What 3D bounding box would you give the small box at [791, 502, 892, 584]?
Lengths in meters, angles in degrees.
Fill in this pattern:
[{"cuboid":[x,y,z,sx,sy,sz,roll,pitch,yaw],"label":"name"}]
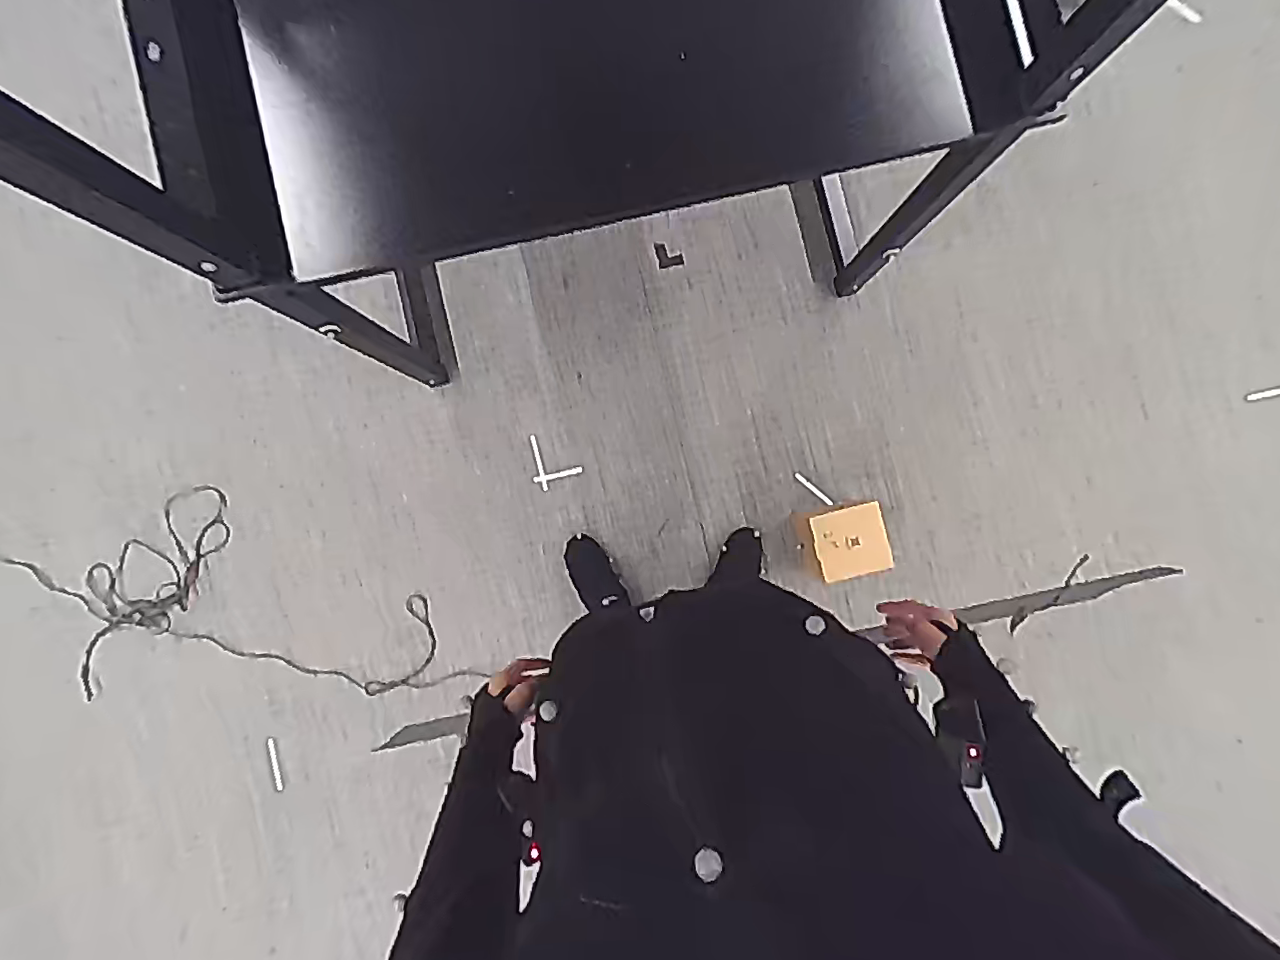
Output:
[{"cuboid":[0.506,0.154,1.378,0.179,0.176,0.168,-13,89,1],"label":"small box"}]
